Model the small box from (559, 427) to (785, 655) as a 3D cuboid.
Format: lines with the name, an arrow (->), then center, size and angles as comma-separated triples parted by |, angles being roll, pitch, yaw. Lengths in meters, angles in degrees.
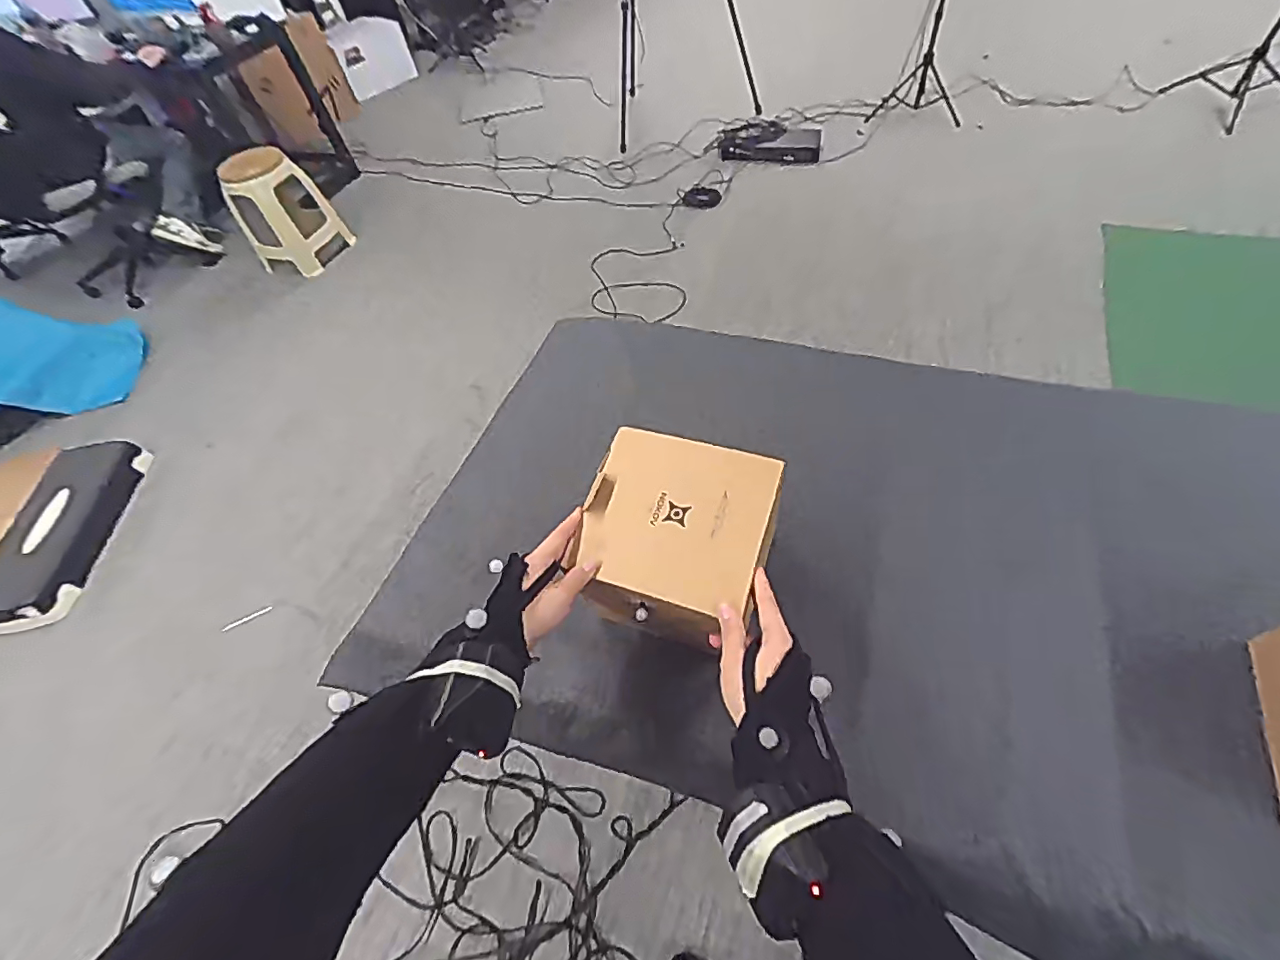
small box -> 0.042, 0.070, 0.576 | 0.179, 0.176, 0.168 | 14, 64, 16
